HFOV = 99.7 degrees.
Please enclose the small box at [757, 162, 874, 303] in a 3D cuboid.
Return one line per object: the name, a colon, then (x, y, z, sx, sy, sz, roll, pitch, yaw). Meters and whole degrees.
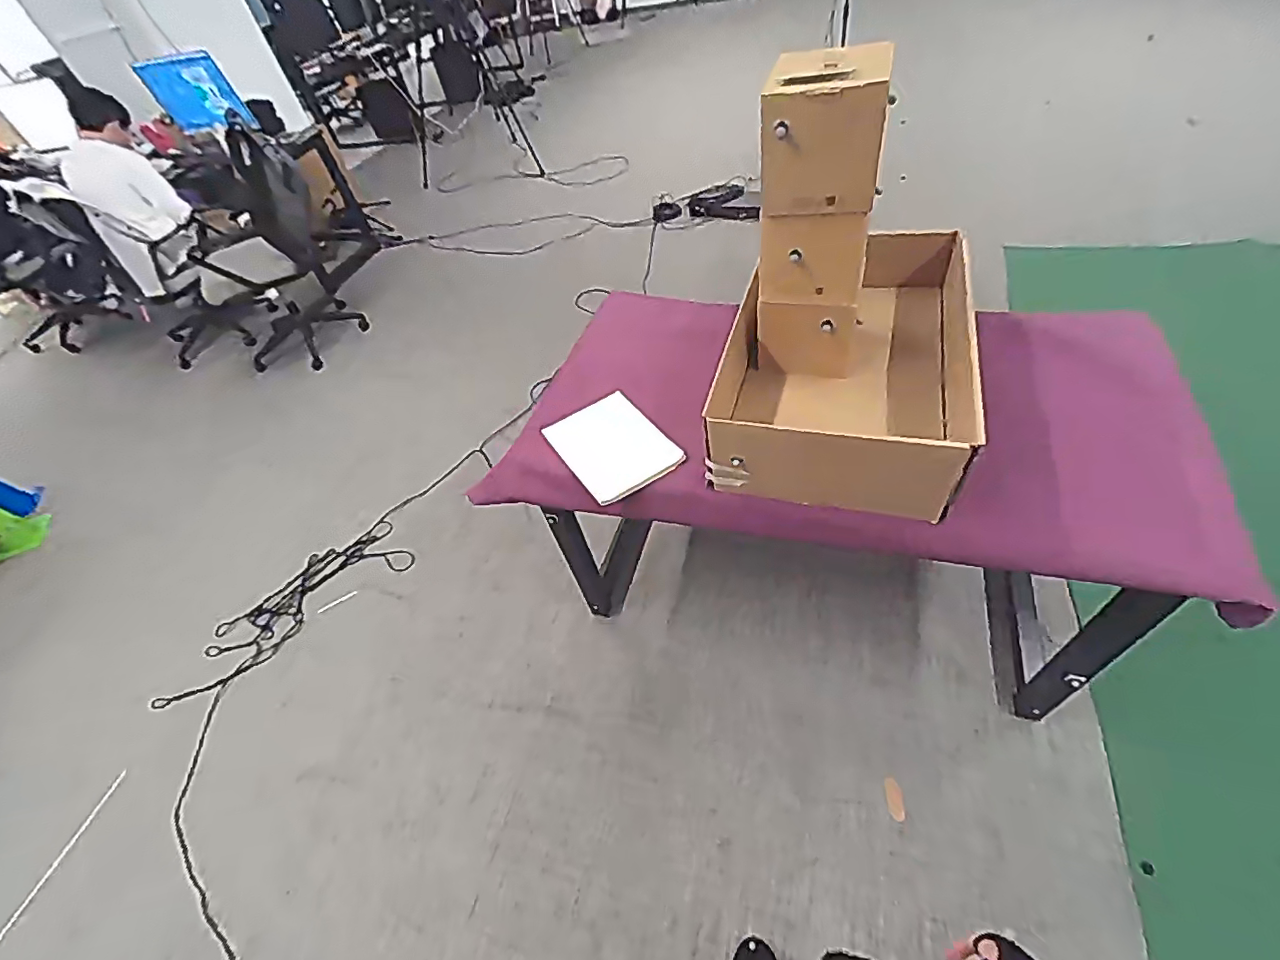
small box: (0.308, -0.431, 0.955, 0.168, 0.176, 0.179, 9, 54, 20)
